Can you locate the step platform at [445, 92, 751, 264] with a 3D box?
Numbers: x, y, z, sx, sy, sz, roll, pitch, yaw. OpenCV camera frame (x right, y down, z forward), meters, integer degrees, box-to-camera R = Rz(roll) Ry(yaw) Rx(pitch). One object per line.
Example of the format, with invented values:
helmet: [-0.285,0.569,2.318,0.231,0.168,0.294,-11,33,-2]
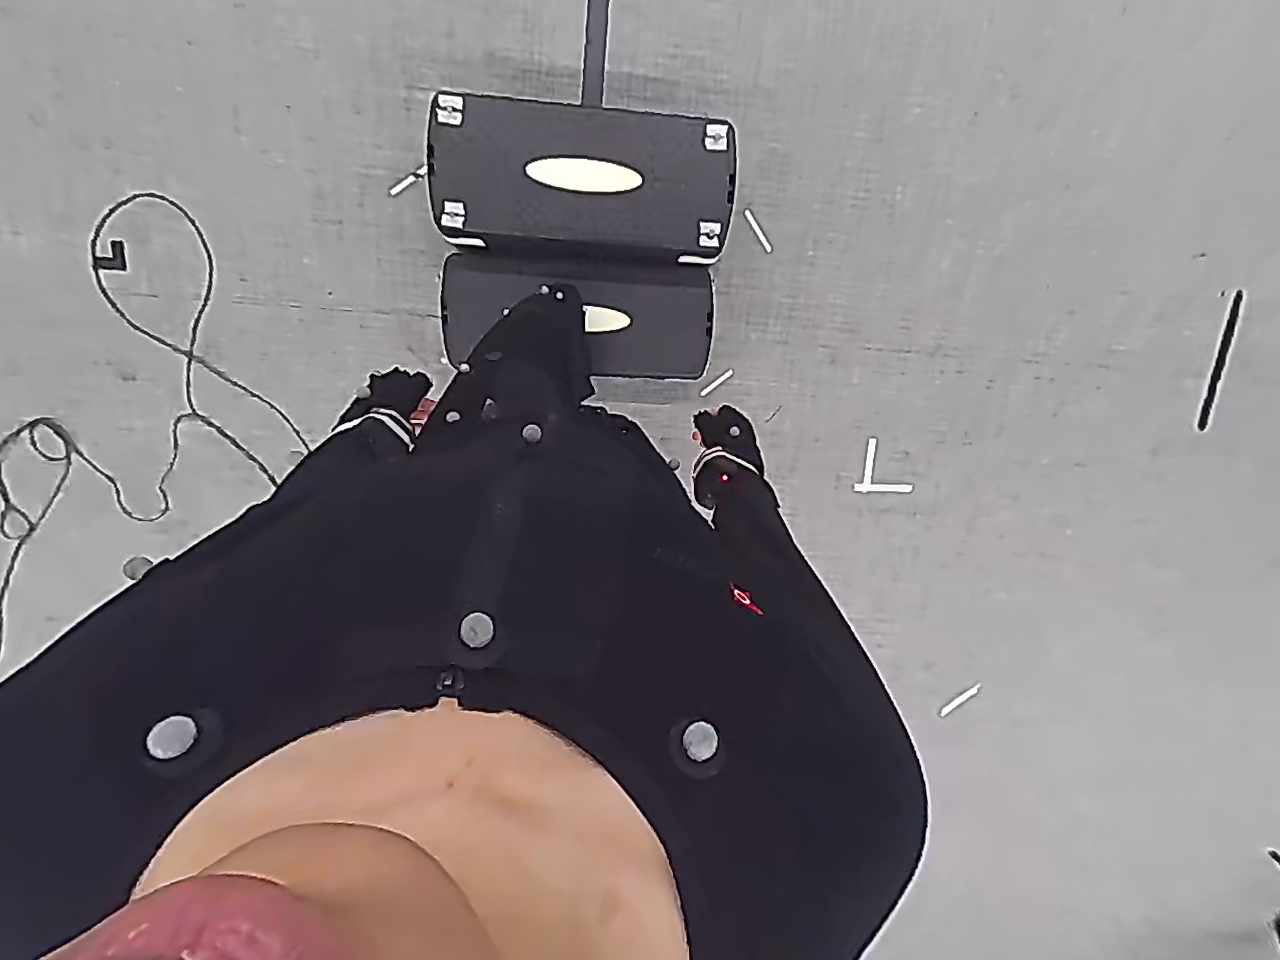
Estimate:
step platform: [-0.091,-0.686,1.257,0.684,0.204,0.286,2,103,-5]
